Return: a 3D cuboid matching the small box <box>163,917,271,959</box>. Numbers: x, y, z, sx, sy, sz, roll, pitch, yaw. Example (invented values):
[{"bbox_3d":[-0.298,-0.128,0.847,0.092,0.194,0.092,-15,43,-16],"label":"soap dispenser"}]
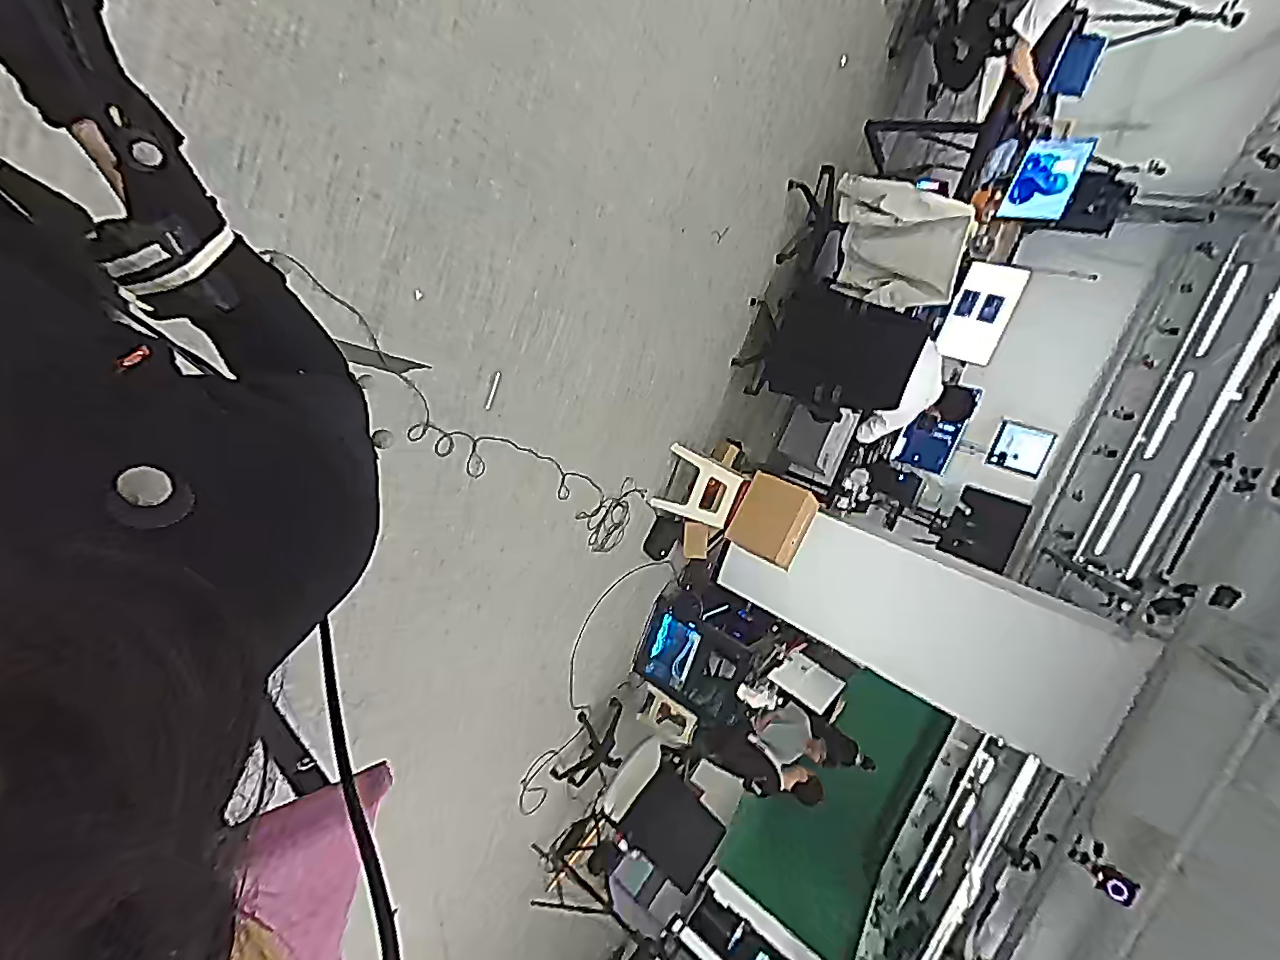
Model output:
[{"bbox_3d":[-0.734,0.912,0.916,0.168,0.176,0.179,0,111,-57],"label":"small box"}]
